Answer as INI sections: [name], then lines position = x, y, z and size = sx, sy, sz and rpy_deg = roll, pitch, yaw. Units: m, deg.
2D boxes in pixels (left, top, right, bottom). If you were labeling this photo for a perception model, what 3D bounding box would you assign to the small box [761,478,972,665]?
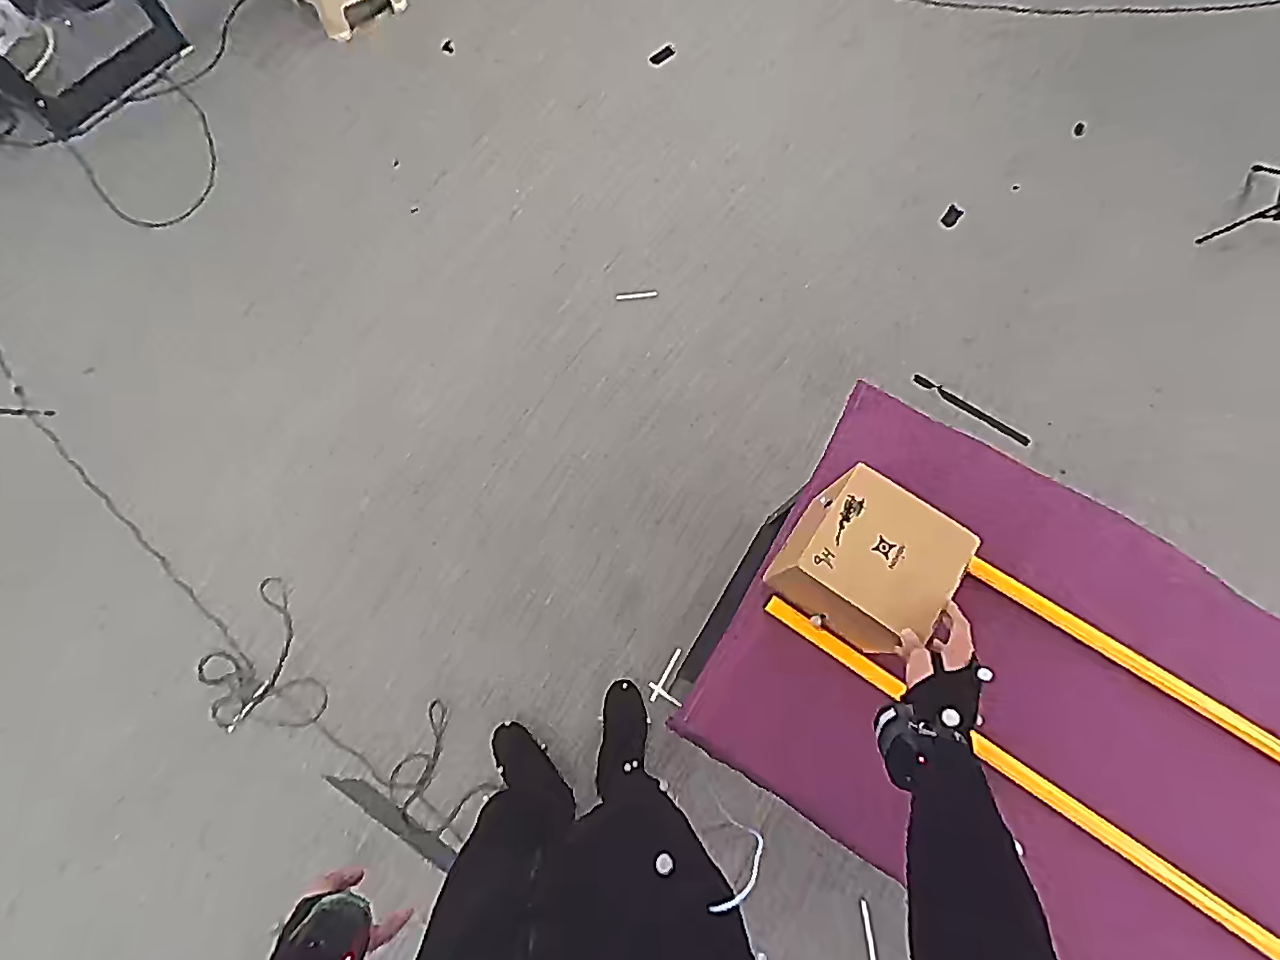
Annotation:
[small box]
position = 0.296, 0.128, 0.741
size = 0.179, 0.176, 0.168
rpy_deg = 36, 75, 8
